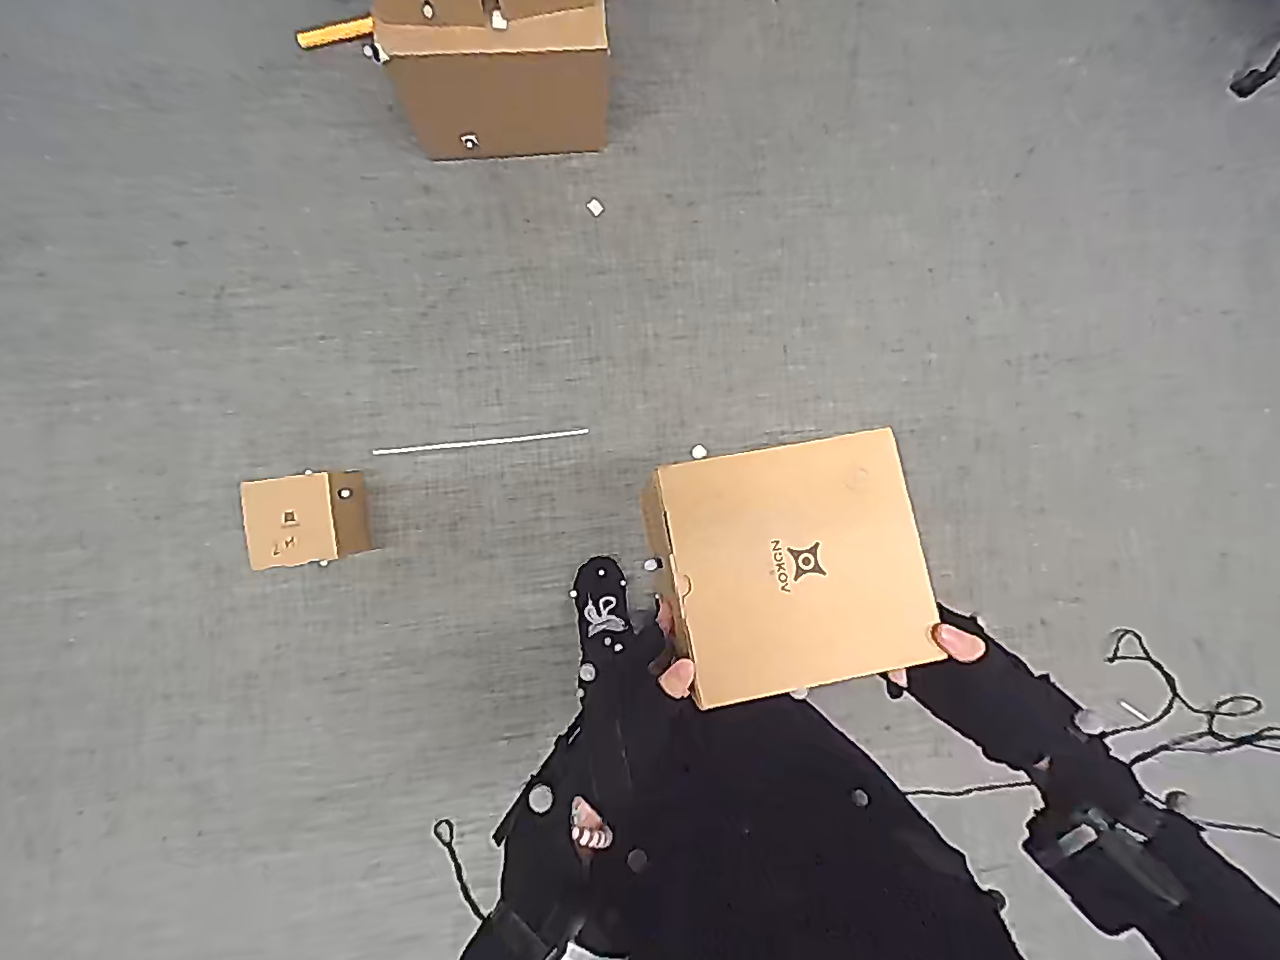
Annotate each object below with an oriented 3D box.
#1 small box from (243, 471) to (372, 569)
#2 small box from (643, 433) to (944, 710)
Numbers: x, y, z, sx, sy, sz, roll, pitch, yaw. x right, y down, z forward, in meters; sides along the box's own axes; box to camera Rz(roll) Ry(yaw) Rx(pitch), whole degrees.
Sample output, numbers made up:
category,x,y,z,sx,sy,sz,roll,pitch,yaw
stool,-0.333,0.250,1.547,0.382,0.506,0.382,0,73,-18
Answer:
category,x,y,z,sx,sy,sz,roll,pitch,yaw
small box,-0.682,0.079,1.126,0.168,0.176,0.179,-7,90,-5
small box,0.104,0.067,0.445,0.179,0.176,0.168,-10,83,-3
